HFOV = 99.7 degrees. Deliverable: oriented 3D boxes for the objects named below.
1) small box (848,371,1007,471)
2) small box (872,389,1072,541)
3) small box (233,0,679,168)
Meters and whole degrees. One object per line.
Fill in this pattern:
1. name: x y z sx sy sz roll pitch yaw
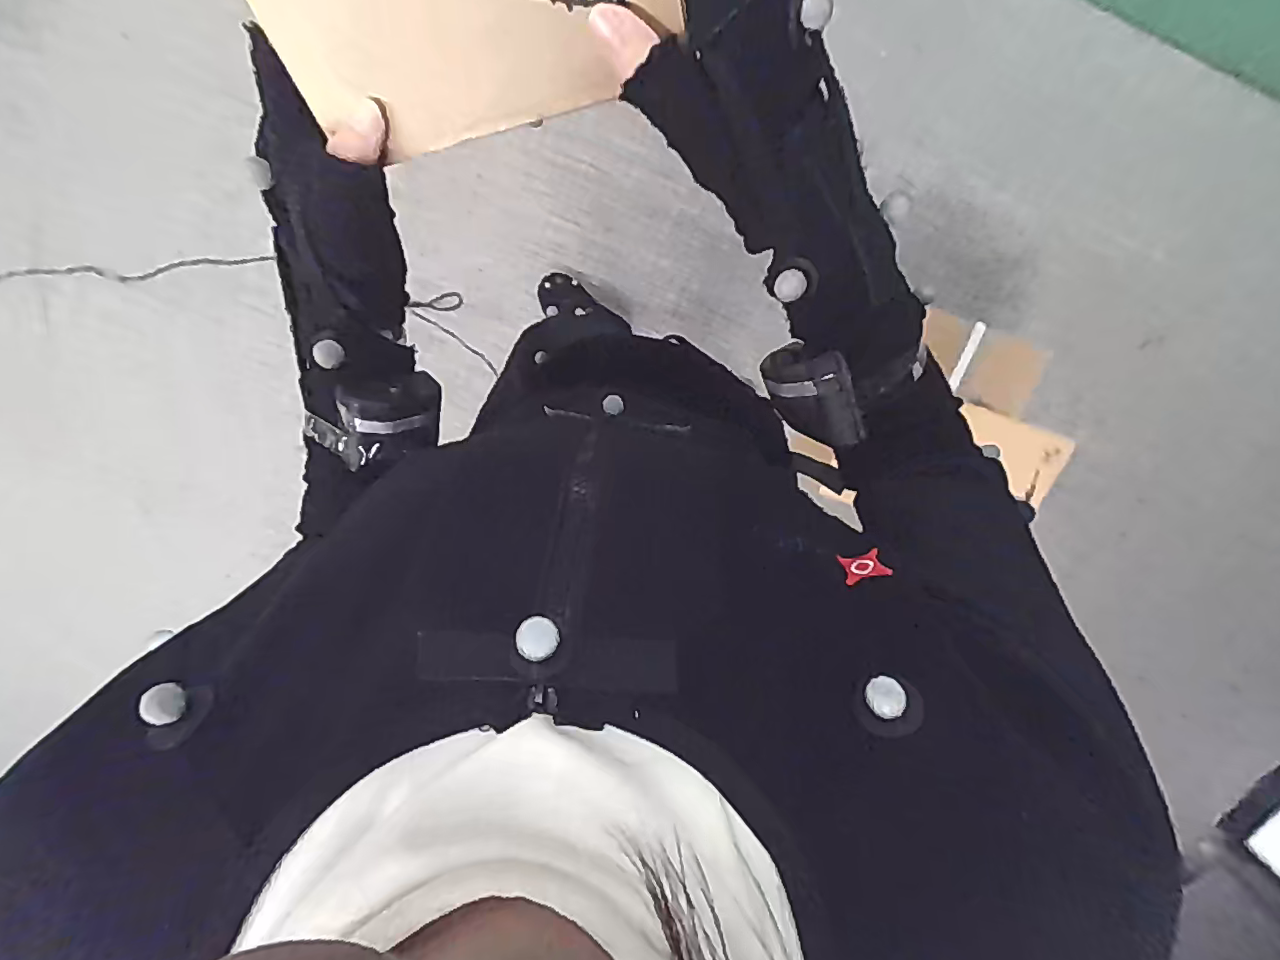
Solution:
1. small box: 0.509 -0.087 0.990 0.168 0.176 0.179 21 110 -2
2. small box: 0.491 -0.034 0.837 0.179 0.176 0.168 19 109 -1
3. small box: -0.083 -0.277 0.243 0.179 0.176 0.168 -7 136 15
